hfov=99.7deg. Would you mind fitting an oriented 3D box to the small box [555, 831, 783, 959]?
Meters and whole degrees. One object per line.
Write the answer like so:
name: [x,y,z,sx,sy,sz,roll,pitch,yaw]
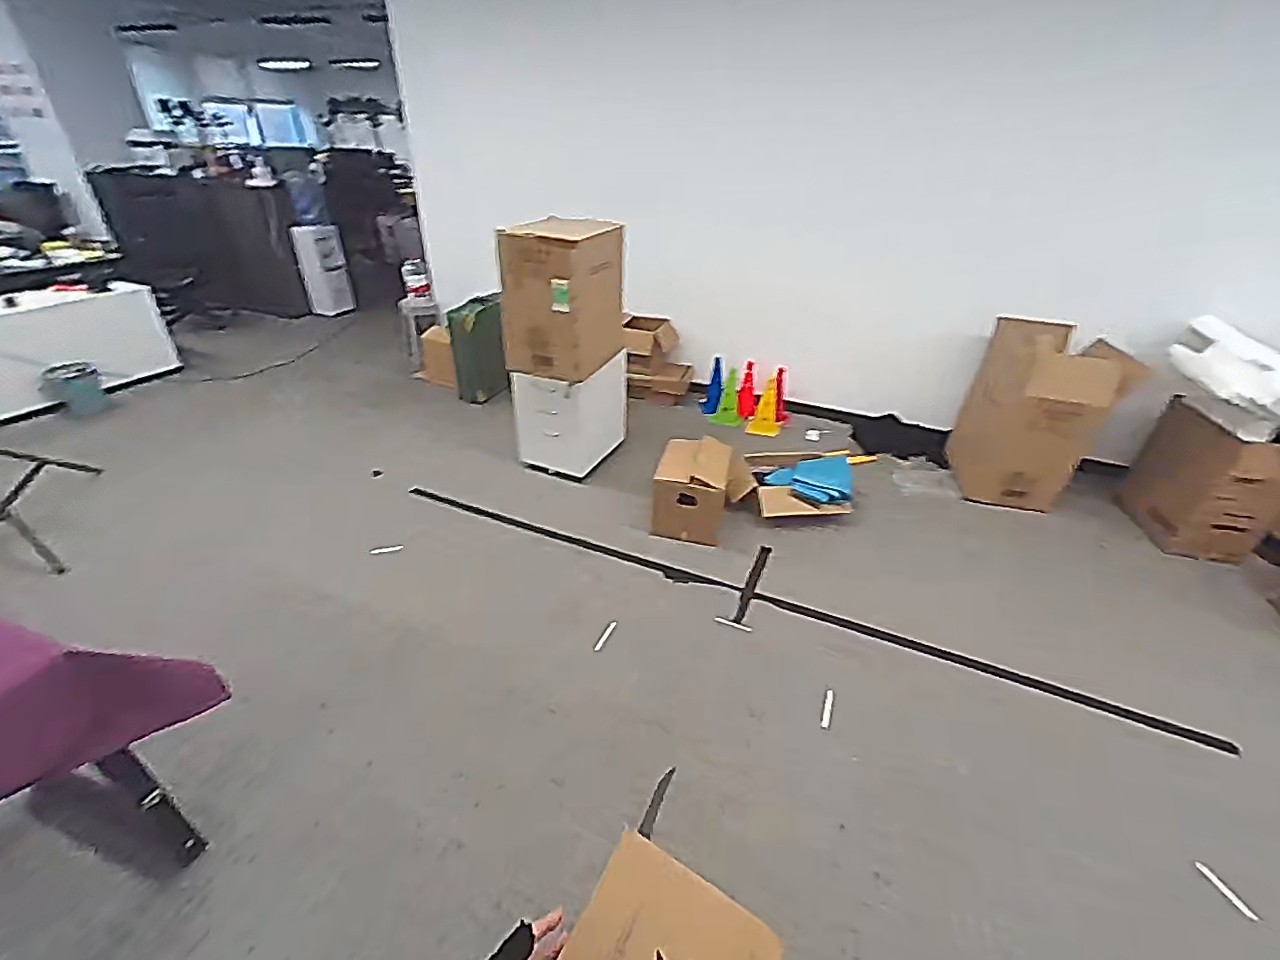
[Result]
small box: [0.008,0.487,0.509,0.179,0.176,0.168,23,38,17]
